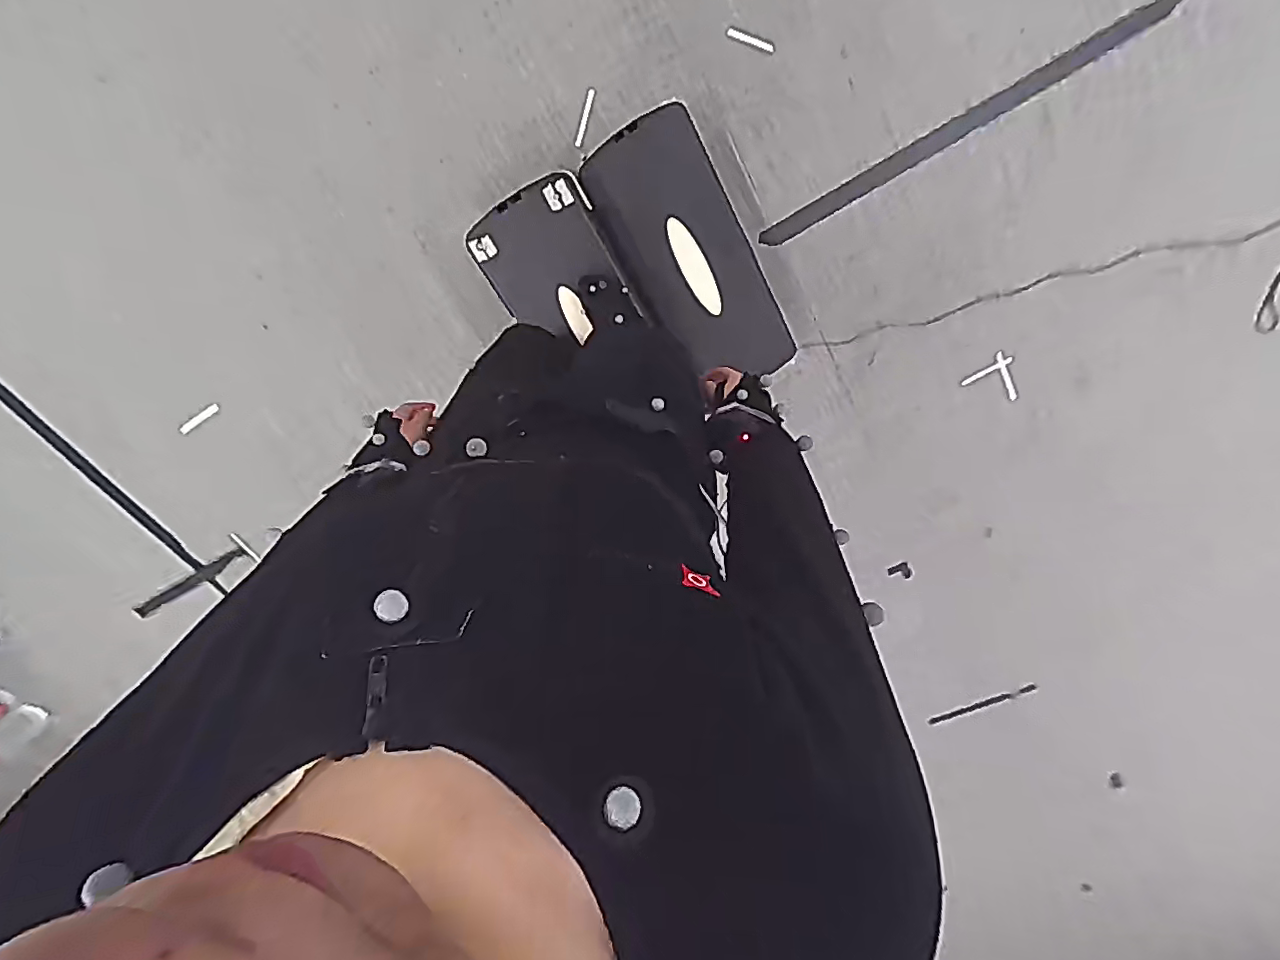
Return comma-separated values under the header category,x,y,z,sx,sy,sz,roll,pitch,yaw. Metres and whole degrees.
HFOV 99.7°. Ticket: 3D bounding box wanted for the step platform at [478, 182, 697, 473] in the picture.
category,x,y,z,sx,sy,sz,roll,pitch,yaw
step platform,-0.110,-0.357,1.359,0.286,0.204,0.684,-25,110,10
